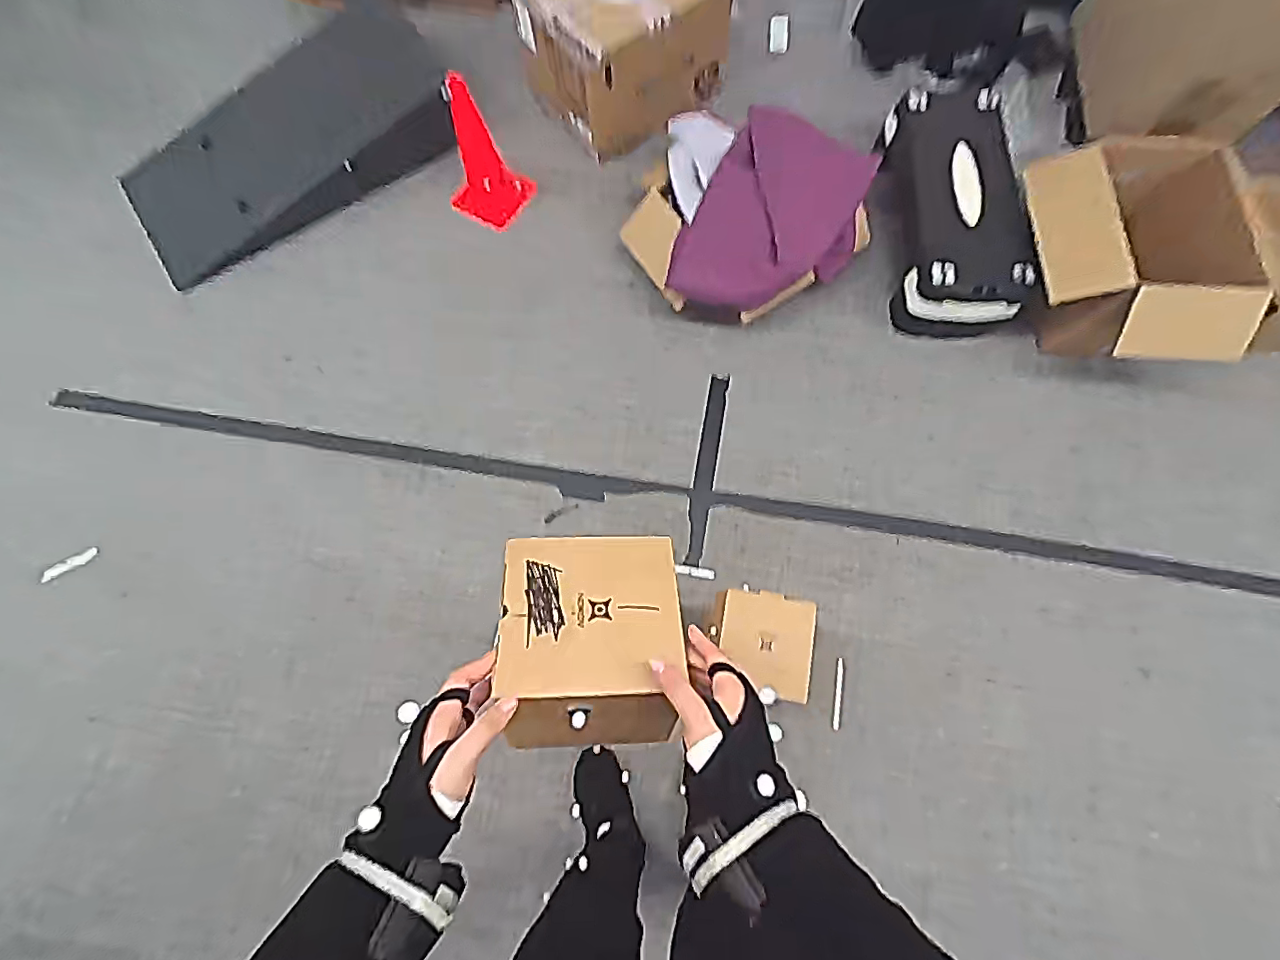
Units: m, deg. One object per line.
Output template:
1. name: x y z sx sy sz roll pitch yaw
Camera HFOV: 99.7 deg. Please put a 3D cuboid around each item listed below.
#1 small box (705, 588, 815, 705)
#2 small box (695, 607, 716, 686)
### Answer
1. small box: 0.223 0.314 1.035 0.168 0.176 0.179 10 75 4
2. small box: 0.225 0.371 1.187 0.179 0.176 0.168 9 74 2
